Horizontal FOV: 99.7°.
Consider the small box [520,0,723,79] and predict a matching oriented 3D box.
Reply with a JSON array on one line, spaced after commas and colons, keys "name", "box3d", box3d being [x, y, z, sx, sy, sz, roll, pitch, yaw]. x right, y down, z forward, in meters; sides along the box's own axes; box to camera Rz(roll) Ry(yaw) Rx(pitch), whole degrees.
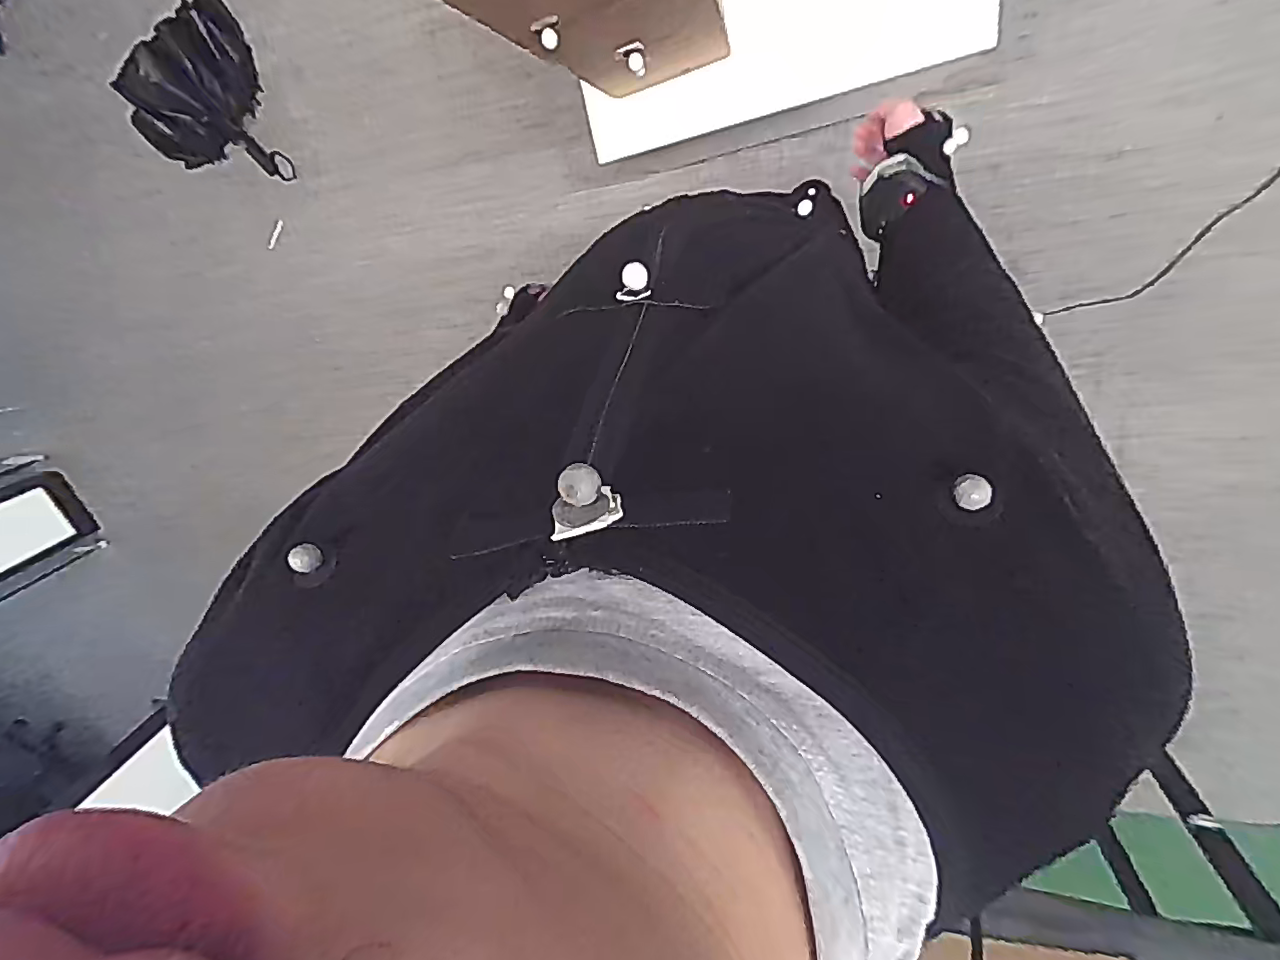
[{"name": "small box", "box3d": [-0.029, -0.494, 0.474, 0.168, 0.176, 0.179, -10, 115, 19]}]

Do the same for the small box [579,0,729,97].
[{"name": "small box", "box3d": [0.006, -0.571, 0.617, 0.168, 0.176, 0.179, -8, 117, 16]}]

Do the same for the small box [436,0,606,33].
[{"name": "small box", "box3d": [-0.065, -0.418, 0.333, 0.168, 0.176, 0.179, -11, 113, 19]}]
